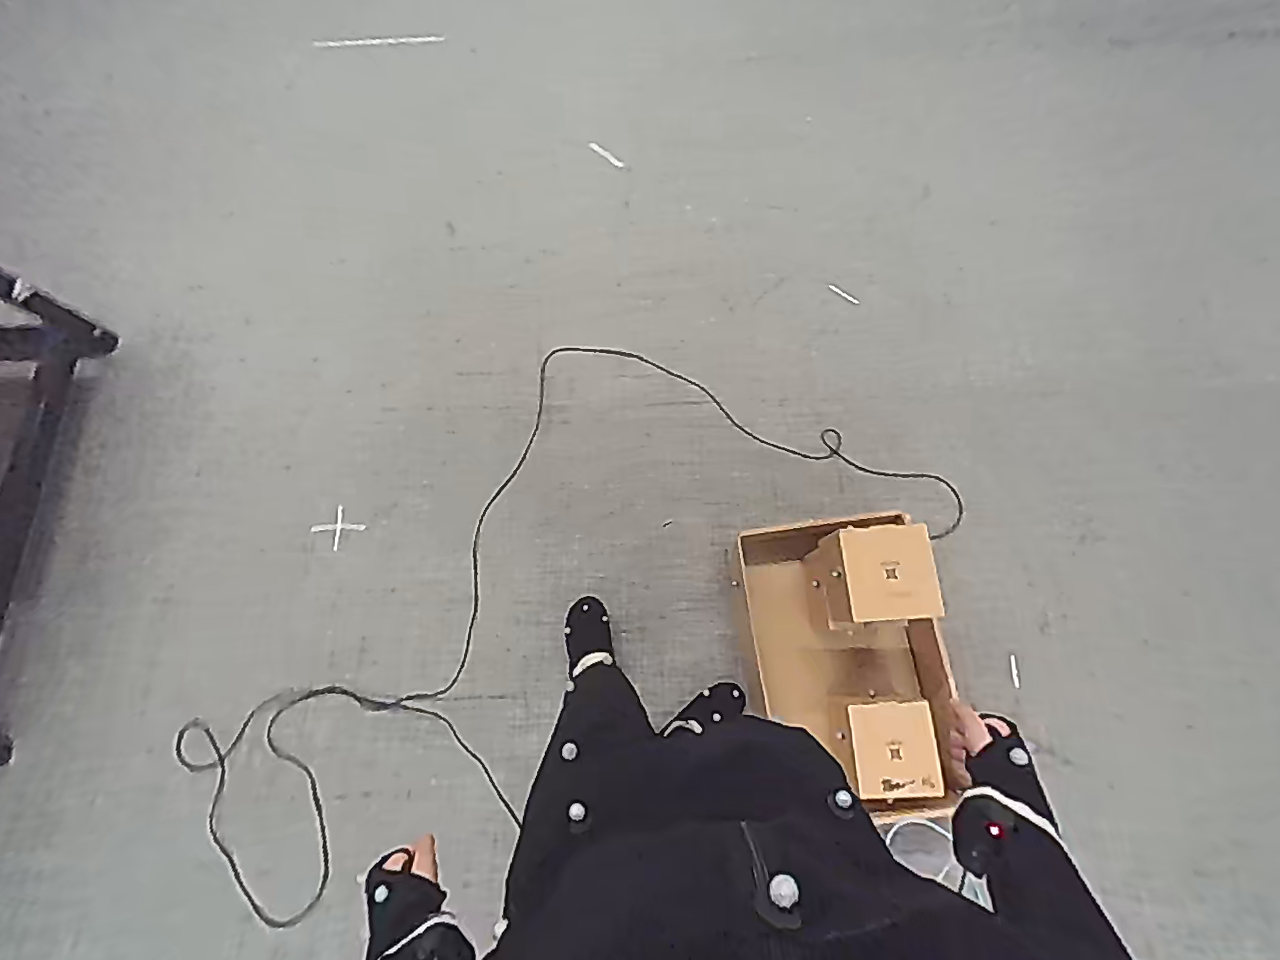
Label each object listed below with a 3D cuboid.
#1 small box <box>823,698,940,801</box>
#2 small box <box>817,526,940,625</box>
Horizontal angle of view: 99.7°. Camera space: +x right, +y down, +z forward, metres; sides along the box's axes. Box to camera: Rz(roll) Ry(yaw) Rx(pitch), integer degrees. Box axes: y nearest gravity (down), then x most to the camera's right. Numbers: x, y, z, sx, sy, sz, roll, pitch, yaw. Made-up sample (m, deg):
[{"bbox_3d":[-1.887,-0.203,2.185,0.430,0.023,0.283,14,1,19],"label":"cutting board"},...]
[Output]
[{"bbox_3d":[0.499,0.560,1.144,0.168,0.176,0.179,-2,74,2],"label":"small box"},{"bbox_3d":[0.464,0.195,1.080,0.168,0.176,0.179,-4,75,3],"label":"small box"}]
